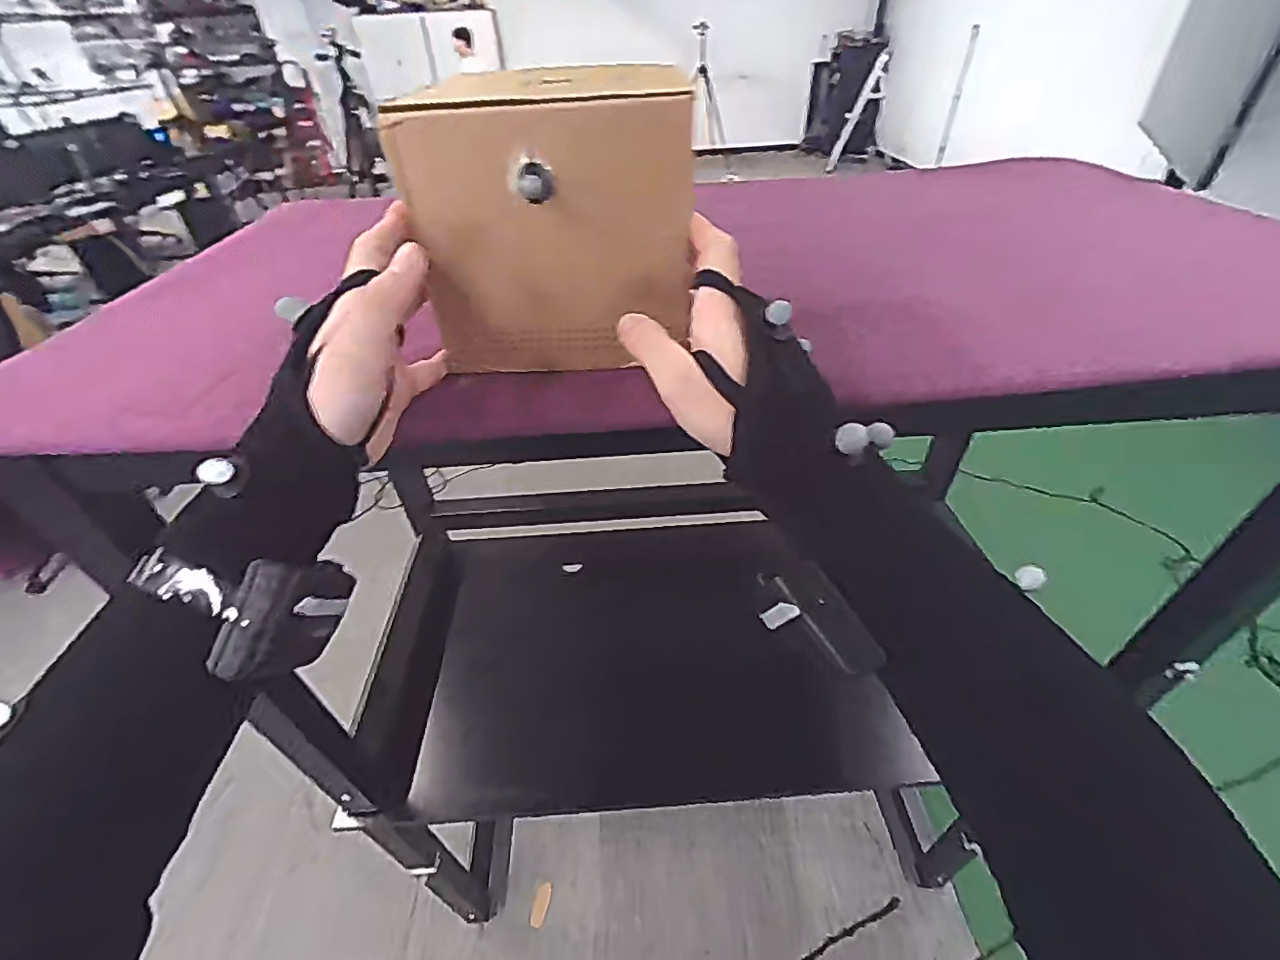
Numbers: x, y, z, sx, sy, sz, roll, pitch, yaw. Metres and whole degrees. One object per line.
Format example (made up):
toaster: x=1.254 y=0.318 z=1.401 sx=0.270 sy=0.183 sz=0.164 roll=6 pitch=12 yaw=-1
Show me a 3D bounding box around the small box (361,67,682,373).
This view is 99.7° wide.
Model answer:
small box: x=-0.061 y=-0.190 z=0.399 sx=0.179 sy=0.176 sz=0.168 roll=-2 pitch=41 yaw=2
